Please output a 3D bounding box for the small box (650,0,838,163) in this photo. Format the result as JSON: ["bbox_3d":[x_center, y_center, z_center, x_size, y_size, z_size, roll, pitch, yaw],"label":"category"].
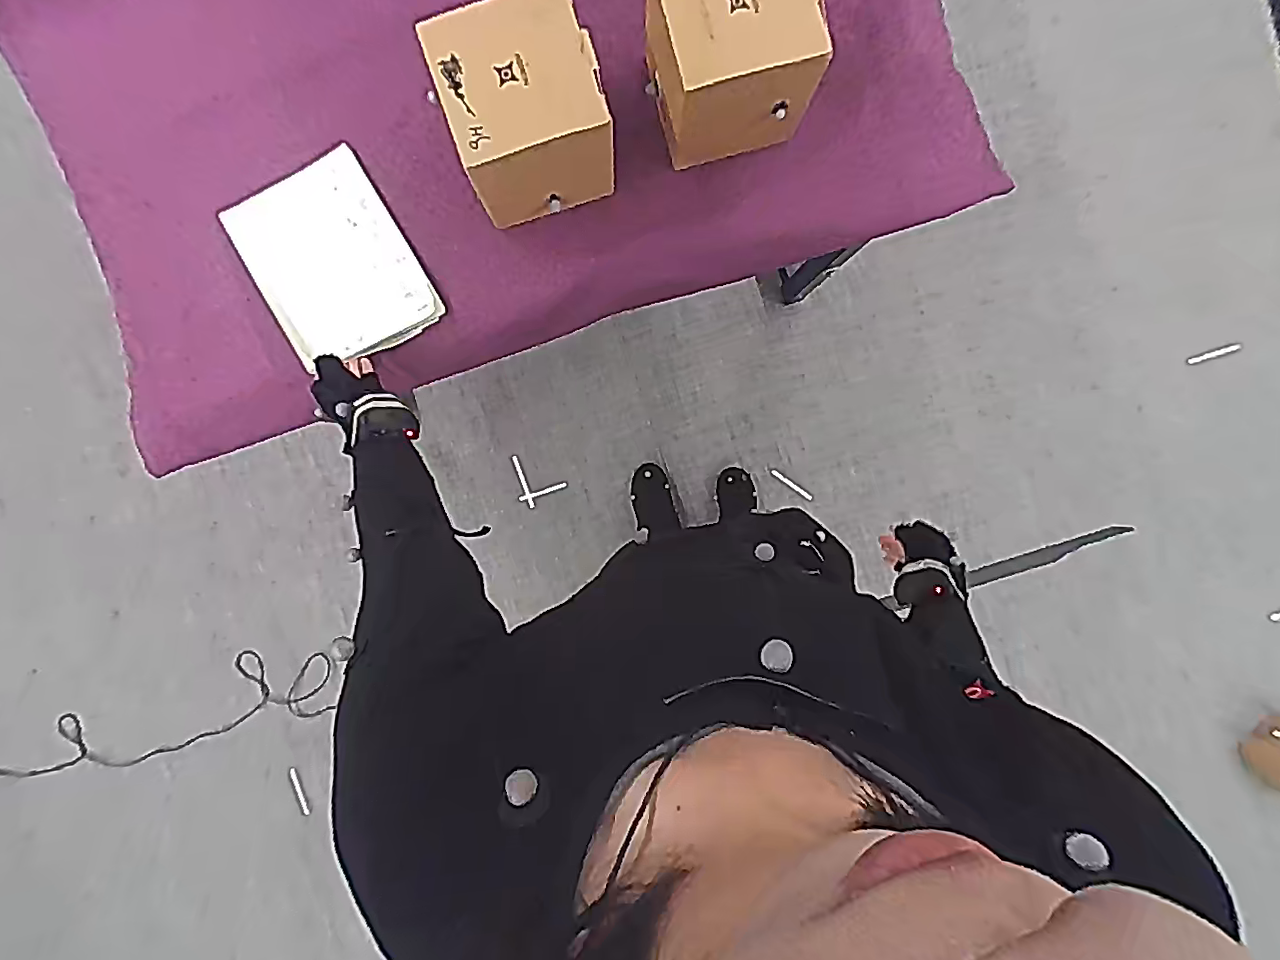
[{"bbox_3d":[0.115,-0.537,0.673,0.179,0.176,0.168,-15,91,1],"label":"small box"}]

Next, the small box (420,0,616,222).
[{"bbox_3d":[-0.137,-0.453,0.669,0.179,0.176,0.168,-19,92,-1],"label":"small box"}]

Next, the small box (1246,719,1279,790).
[{"bbox_3d":[1.897,0.809,1.515,0.168,0.176,0.179,-41,92,0],"label":"small box"}]
